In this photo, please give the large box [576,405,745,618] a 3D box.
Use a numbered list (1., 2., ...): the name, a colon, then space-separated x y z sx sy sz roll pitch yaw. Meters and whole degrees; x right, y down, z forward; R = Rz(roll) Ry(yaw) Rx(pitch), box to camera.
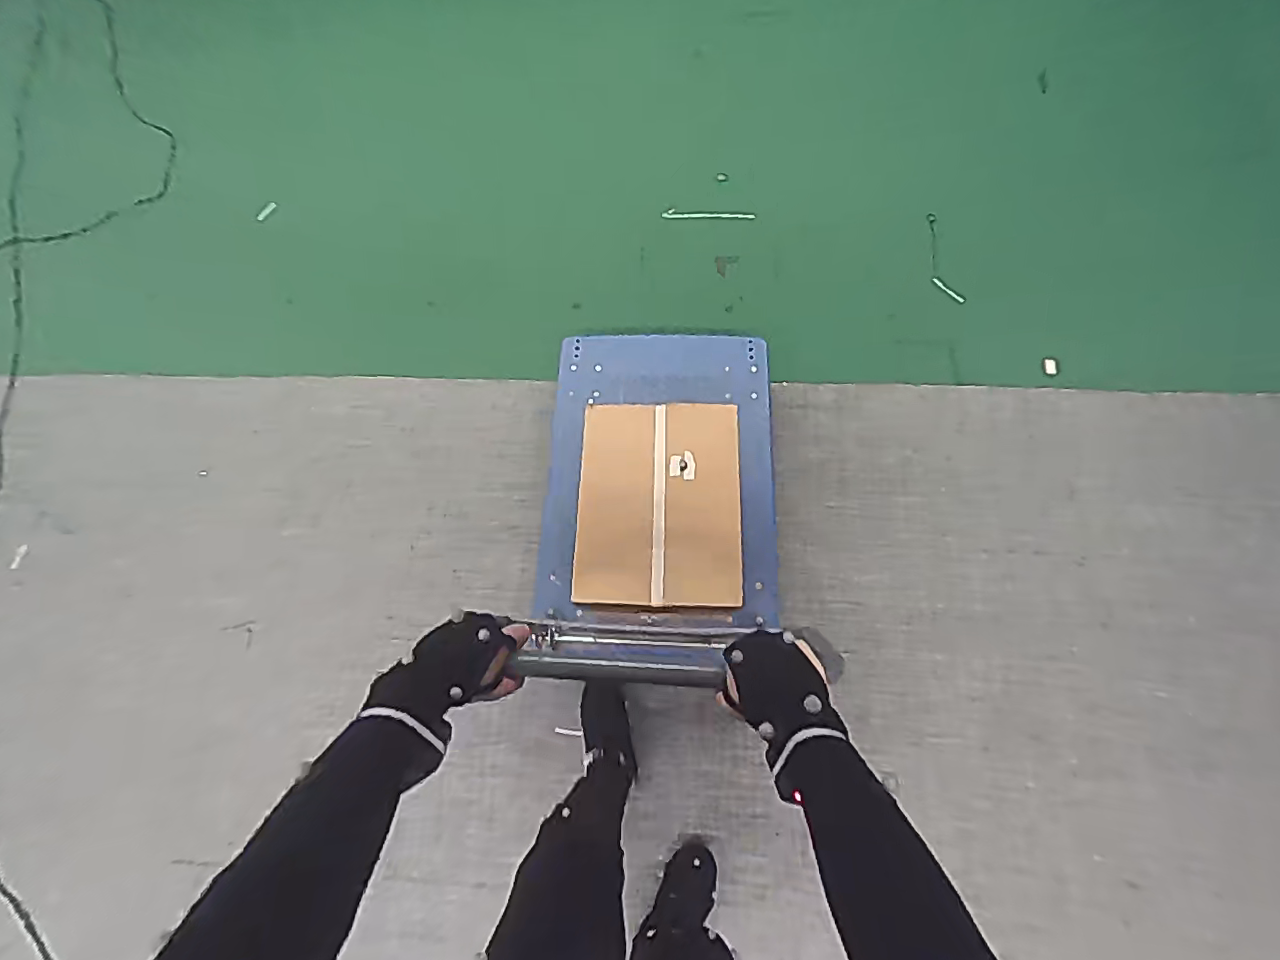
1. large box: 0.051 0.085 1.186 0.320 0.320 0.408 1 70 4
